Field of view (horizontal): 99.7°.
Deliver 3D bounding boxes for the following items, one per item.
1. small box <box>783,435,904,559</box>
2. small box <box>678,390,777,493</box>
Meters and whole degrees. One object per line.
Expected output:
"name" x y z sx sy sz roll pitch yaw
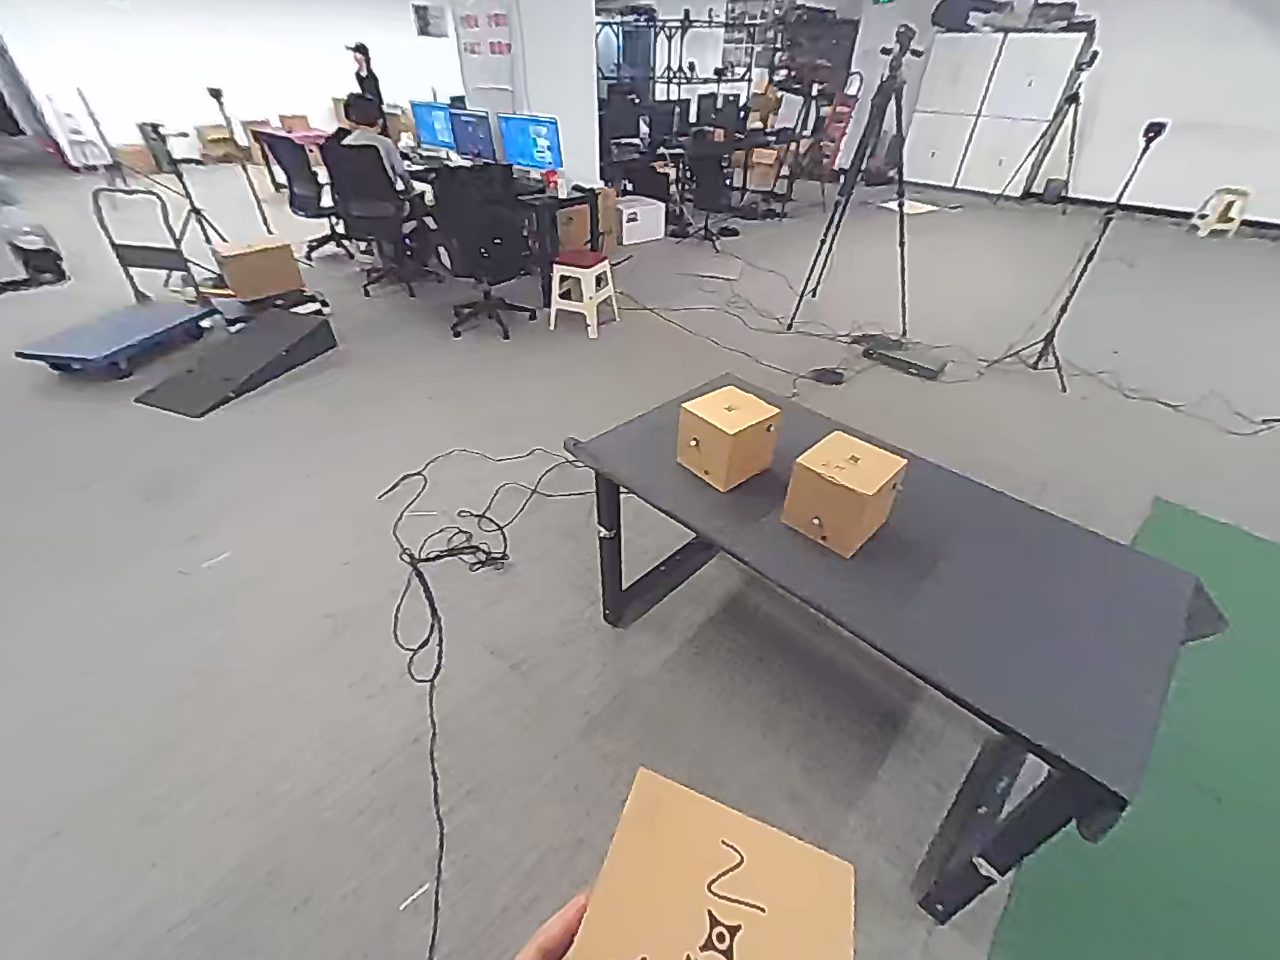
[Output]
"small box" 0.427 0.035 1.158 0.168 0.176 0.179 32 46 34
"small box" 0.206 -0.094 1.319 0.179 0.176 0.168 -25 45 -32
